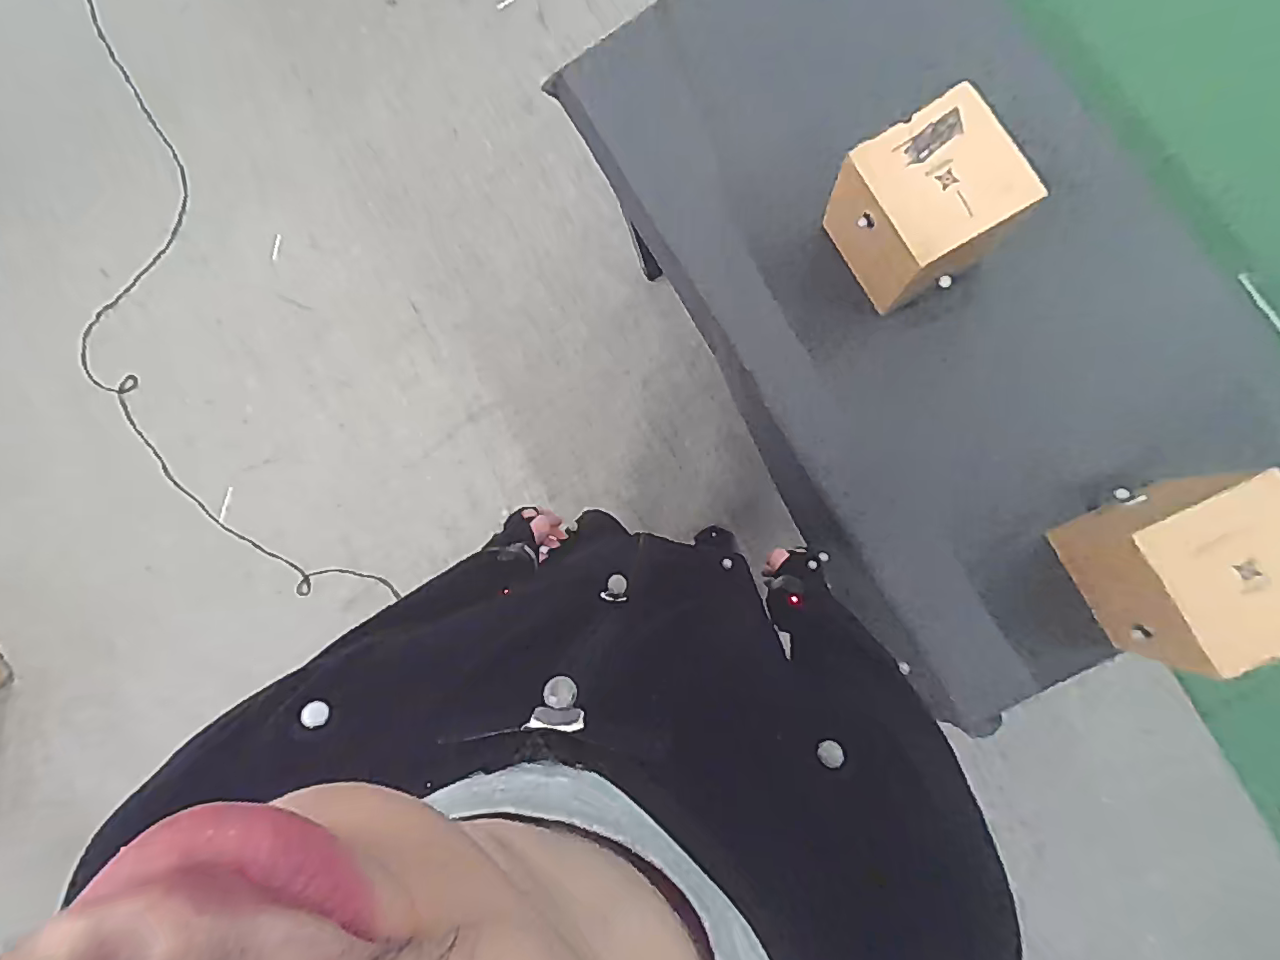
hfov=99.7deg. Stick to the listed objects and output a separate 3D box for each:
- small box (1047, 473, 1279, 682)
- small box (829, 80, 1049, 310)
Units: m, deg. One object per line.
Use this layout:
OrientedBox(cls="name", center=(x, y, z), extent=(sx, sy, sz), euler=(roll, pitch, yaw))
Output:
OrientedBox(cls="small box", center=(0.654, 0.108, 0.651), extent=(0.168, 0.176, 0.179), euler=(-28, 82, 6))
OrientedBox(cls="small box", center=(0.377, -0.363, 0.724), extent=(0.168, 0.176, 0.179), euler=(-29, 84, 7))
